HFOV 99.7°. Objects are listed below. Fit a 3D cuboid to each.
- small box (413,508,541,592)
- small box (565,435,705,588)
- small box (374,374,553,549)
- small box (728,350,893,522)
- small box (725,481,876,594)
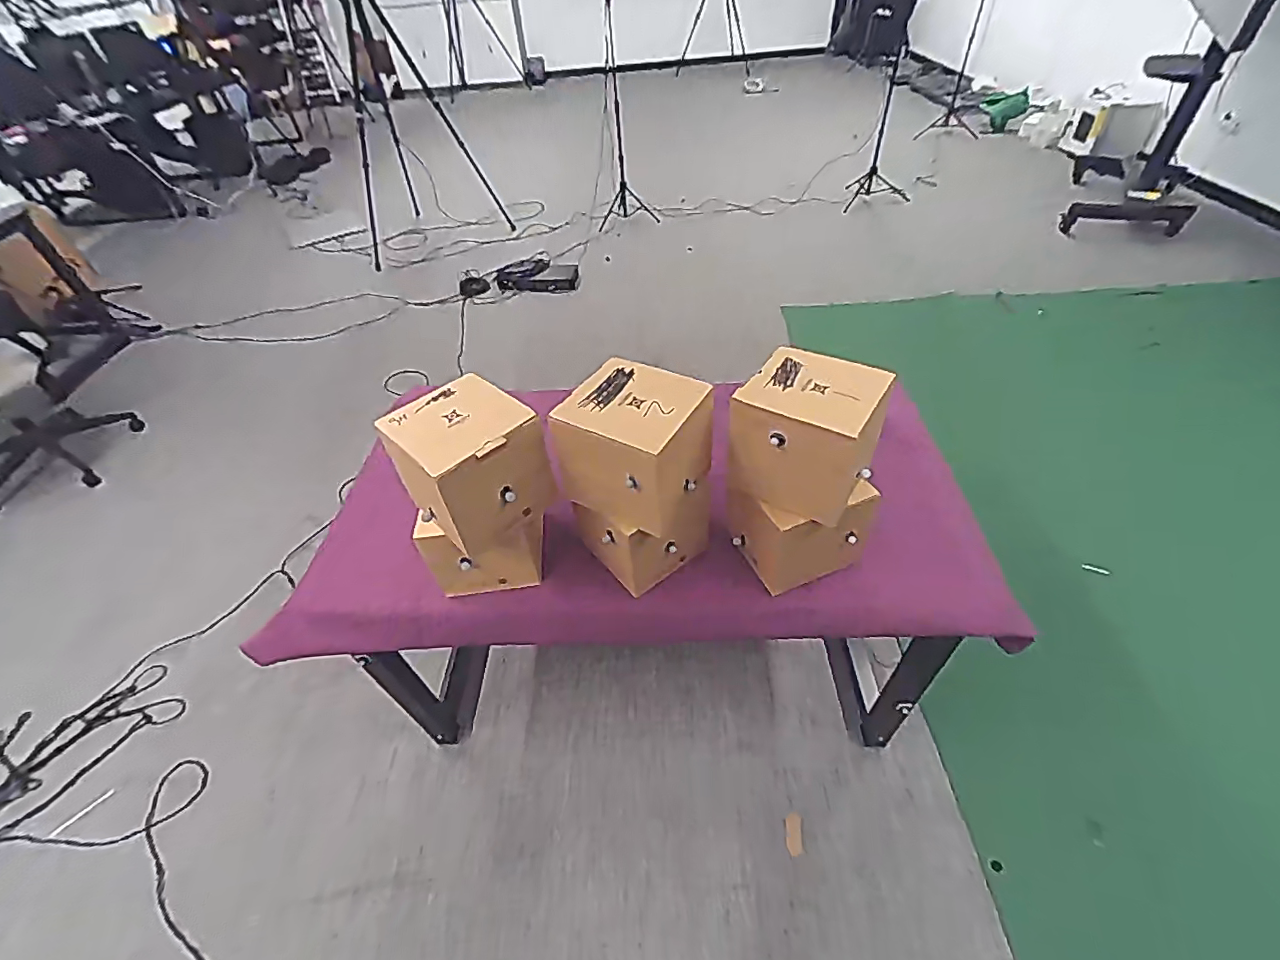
[{"bbox_3d":[-0.269,0.079,0.936,0.168,0.176,0.179,-7,44,-2],"label":"small box"},{"bbox_3d":[-0.005,0.060,0.928,0.168,0.176,0.179,-29,49,-24],"label":"small box"},{"bbox_3d":[-0.251,-0.023,0.803,0.179,0.176,0.168,33,55,32],"label":"small box"},{"bbox_3d":[0.243,-0.066,0.804,0.179,0.176,0.168,24,50,27],"label":"small box"},{"bbox_3d":[0.256,0.060,0.908,0.179,0.176,0.168,-19,45,-12],"label":"small box"}]
